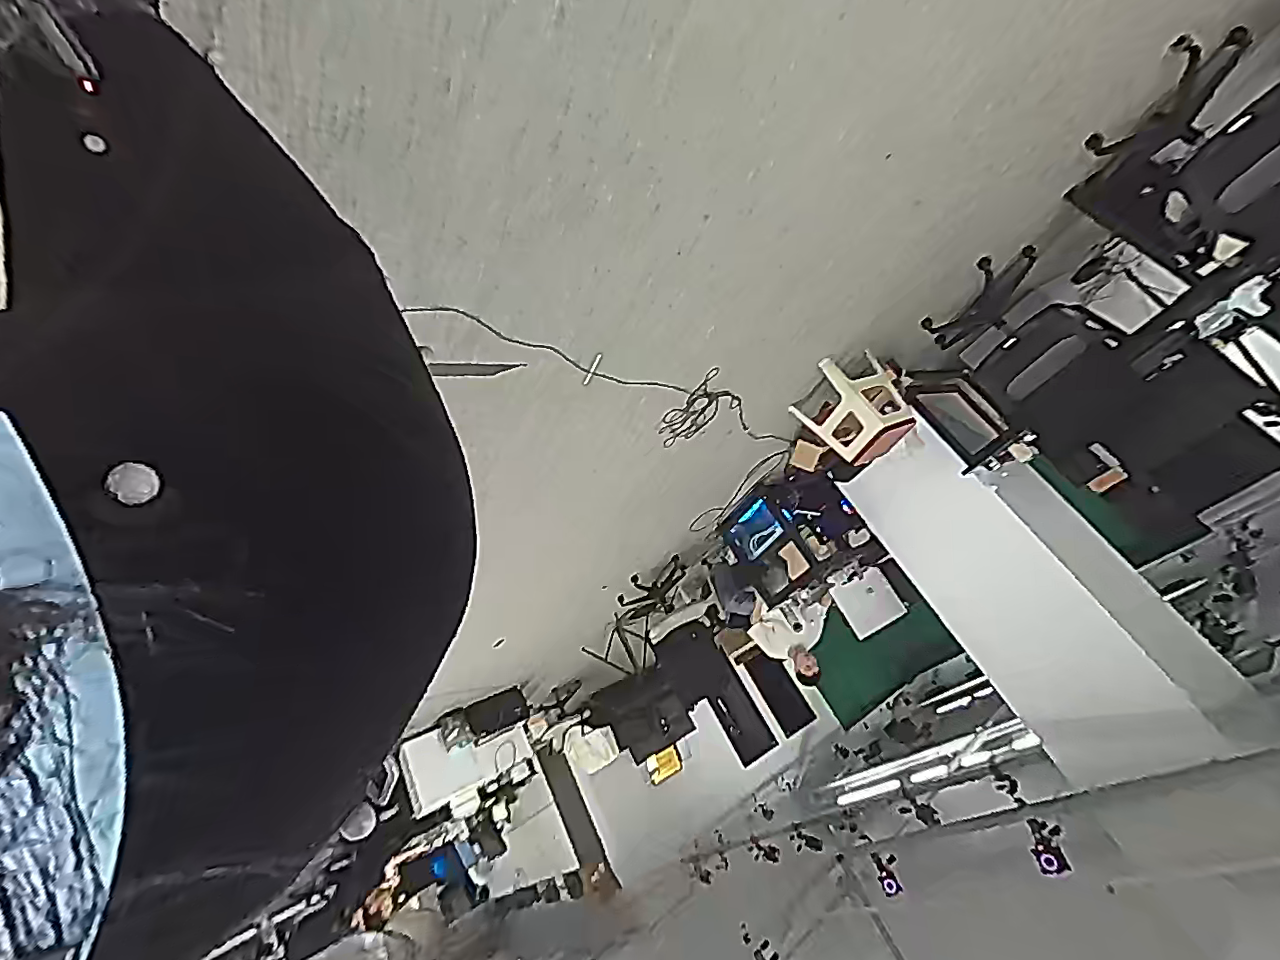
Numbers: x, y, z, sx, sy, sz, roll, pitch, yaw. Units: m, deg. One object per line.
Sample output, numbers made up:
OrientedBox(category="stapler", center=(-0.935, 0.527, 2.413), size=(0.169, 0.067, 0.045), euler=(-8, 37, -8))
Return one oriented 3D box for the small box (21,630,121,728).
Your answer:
OrientedBox(category="small box", center=(-1.515, 0.527, 1.446), size=(0.168, 0.176, 0.179), euler=(-9, 148, -42))
